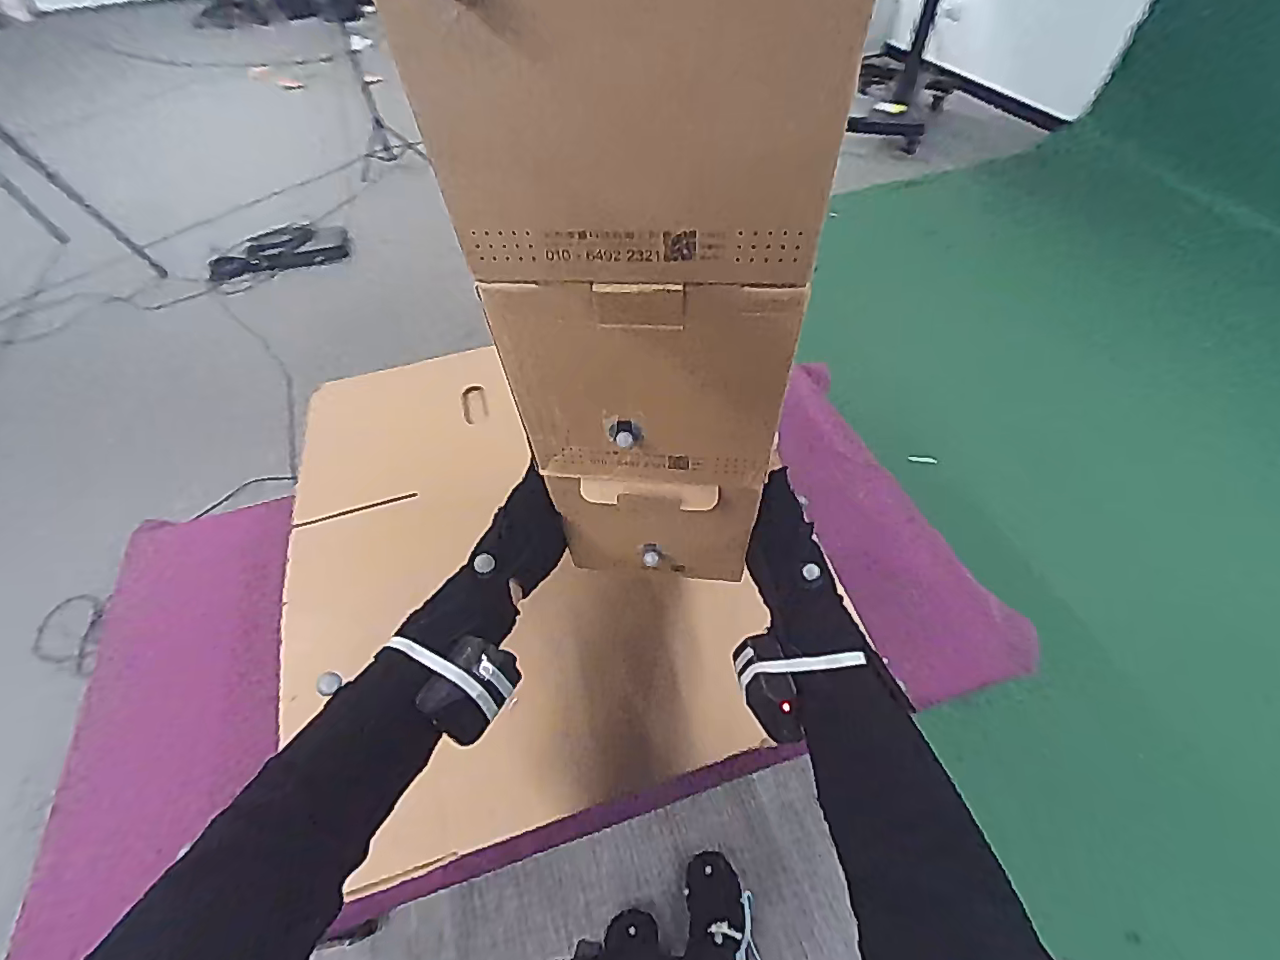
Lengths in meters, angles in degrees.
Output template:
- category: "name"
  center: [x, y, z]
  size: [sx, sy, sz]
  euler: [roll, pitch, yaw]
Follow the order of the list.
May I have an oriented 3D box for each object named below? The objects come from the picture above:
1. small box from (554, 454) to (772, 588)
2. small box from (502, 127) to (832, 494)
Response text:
- category: "small box"
  center: [0.030, -0.020, 0.508]
  size: [0.168, 0.176, 0.179]
  euler: [6, 56, 7]
- category: "small box"
  center: [0.022, -0.113, 0.374]
  size: [0.168, 0.176, 0.179]
  euler: [4, 56, 5]
